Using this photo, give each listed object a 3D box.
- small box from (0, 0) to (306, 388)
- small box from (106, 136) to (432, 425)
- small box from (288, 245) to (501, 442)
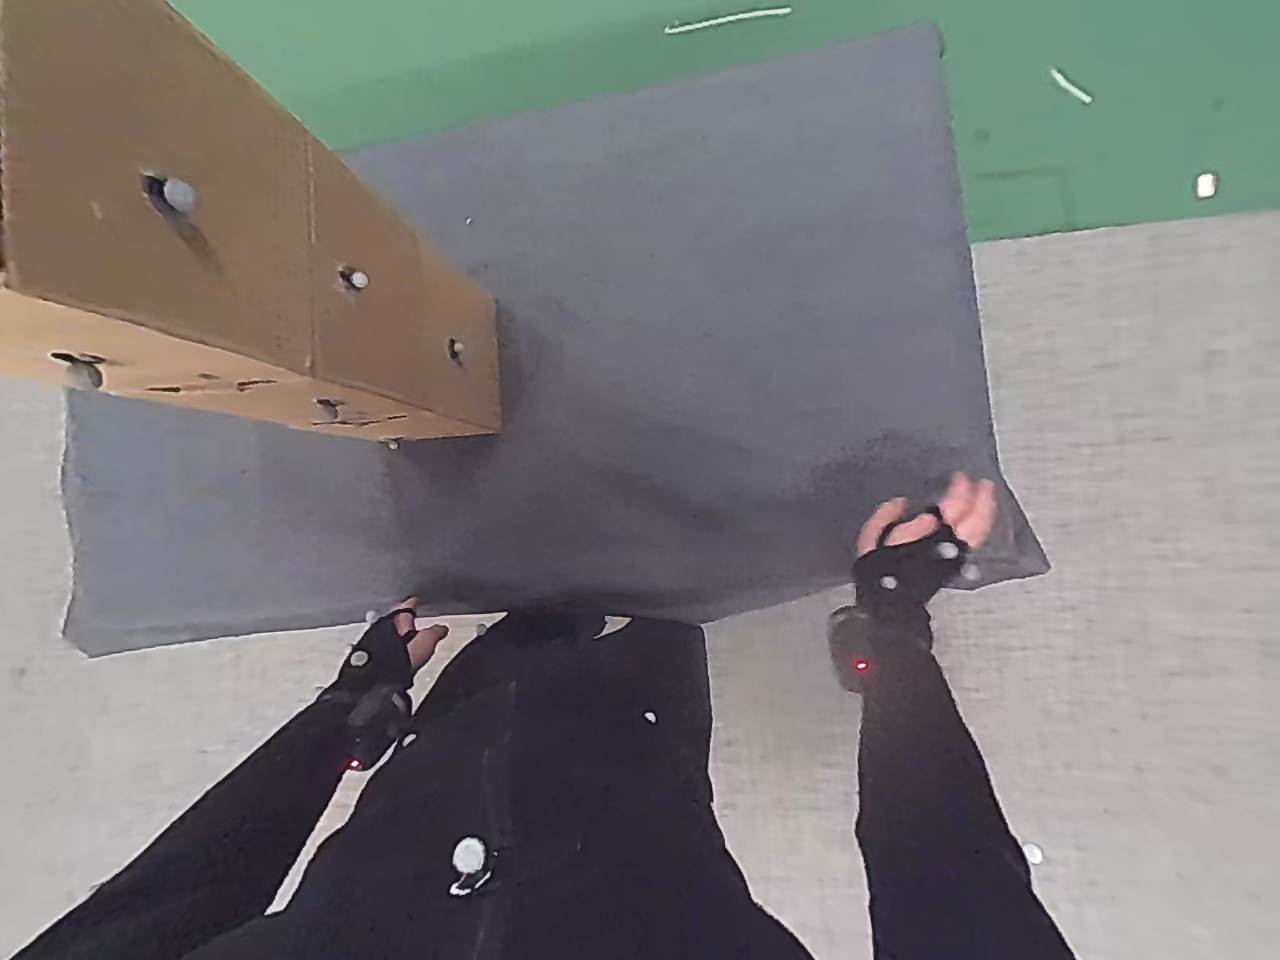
[{"bbox_3d":[-0.314,-0.149,0.294,0.168,0.176,0.179,-3,90,6],"label":"small box"},{"bbox_3d":[-0.292,-0.143,0.457,0.168,0.176,0.179,-3,87,7],"label":"small box"},{"bbox_3d":[-0.269,-0.138,0.616,0.168,0.176,0.179,-4,87,8],"label":"small box"}]
